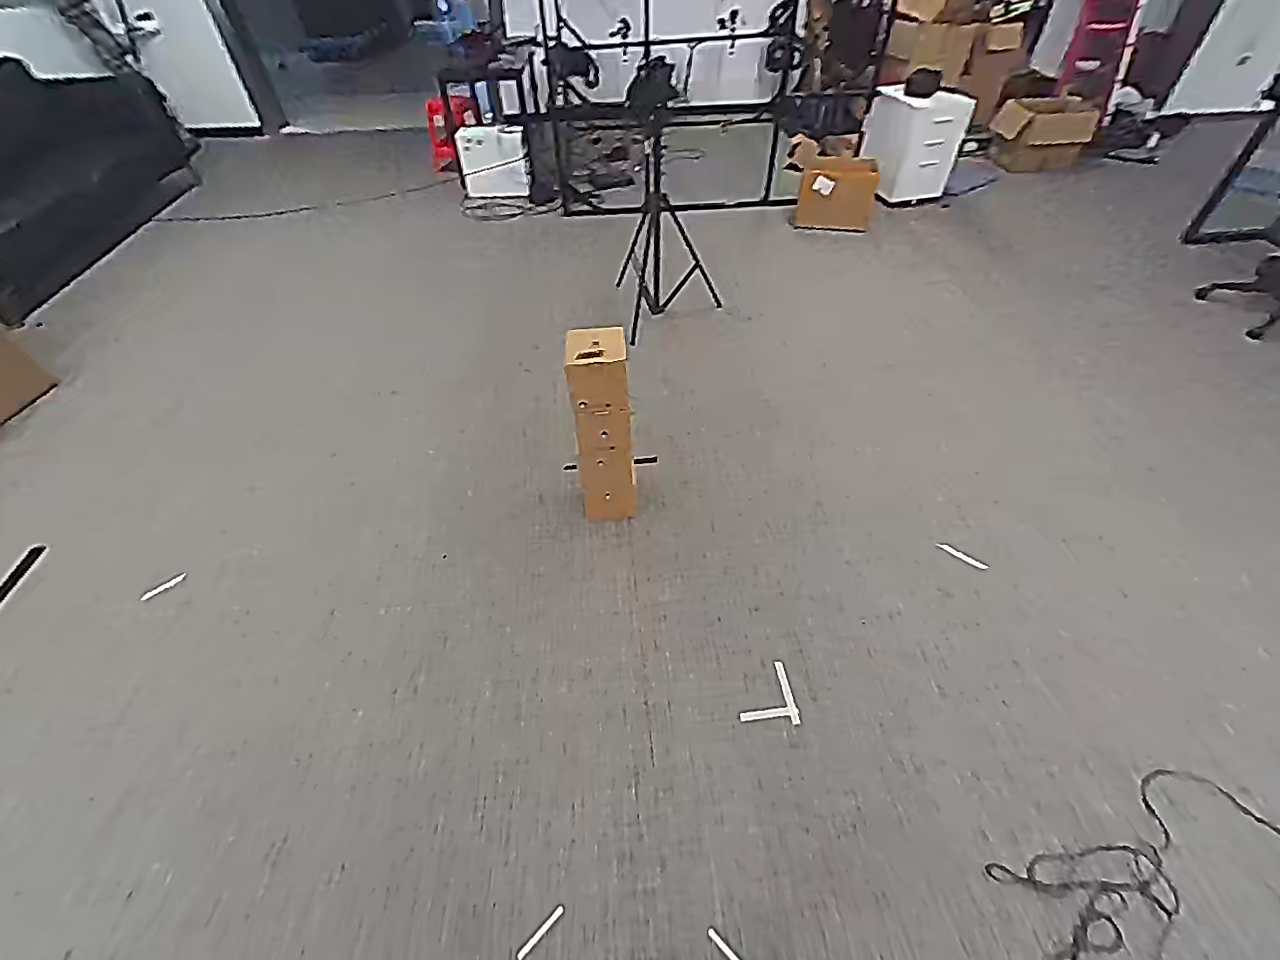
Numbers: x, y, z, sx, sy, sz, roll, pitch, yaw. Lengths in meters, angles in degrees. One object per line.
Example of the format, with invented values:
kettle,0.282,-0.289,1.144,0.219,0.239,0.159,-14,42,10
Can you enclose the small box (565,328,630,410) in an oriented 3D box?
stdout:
small box,-0.118,-0.313,1.548,0.168,0.176,0.179,-4,46,-1

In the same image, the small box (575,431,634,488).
small box,-0.114,-0.086,1.785,0.179,0.176,0.168,-3,48,0

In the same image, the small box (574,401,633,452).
small box,-0.110,-0.199,1.667,0.168,0.176,0.179,-3,48,-1

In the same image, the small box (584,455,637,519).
small box,-0.103,0.023,1.908,0.179,0.176,0.168,-5,47,-2
